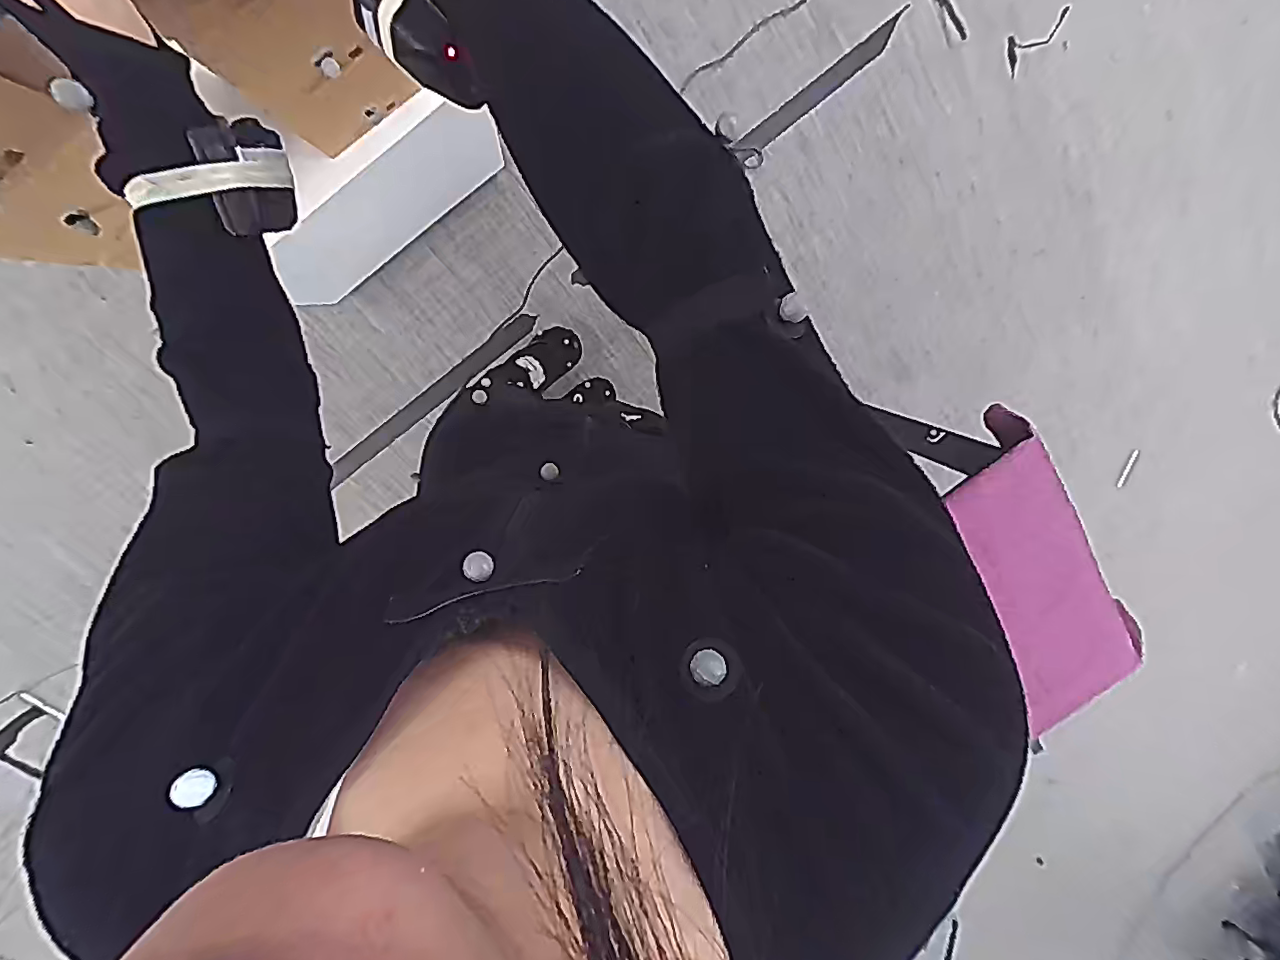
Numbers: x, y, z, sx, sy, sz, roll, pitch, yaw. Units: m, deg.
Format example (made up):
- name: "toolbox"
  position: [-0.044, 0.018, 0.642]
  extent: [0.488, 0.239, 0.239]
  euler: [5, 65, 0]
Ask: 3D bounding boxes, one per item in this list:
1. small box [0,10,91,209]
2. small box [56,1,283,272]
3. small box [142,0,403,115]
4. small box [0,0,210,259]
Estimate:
- name: "small box"
  position: [-0.501, -0.260, 0.303]
  extent: [0.168, 0.176, 0.179]
  euler: [-39, 111, 4]
- name: "small box"
  position: [-0.561, -0.357, 0.607]
  extent: [0.168, 0.176, 0.179]
  euler: [-37, 109, 3]
- name: "small box"
  position: [-0.333, -0.452, 0.445]
  extent: [0.168, 0.176, 0.179]
  euler: [-35, 111, 3]
- name: "small box"
  position: [-0.531, -0.307, 0.456]
  extent: [0.168, 0.176, 0.179]
  euler: [-39, 110, 3]
